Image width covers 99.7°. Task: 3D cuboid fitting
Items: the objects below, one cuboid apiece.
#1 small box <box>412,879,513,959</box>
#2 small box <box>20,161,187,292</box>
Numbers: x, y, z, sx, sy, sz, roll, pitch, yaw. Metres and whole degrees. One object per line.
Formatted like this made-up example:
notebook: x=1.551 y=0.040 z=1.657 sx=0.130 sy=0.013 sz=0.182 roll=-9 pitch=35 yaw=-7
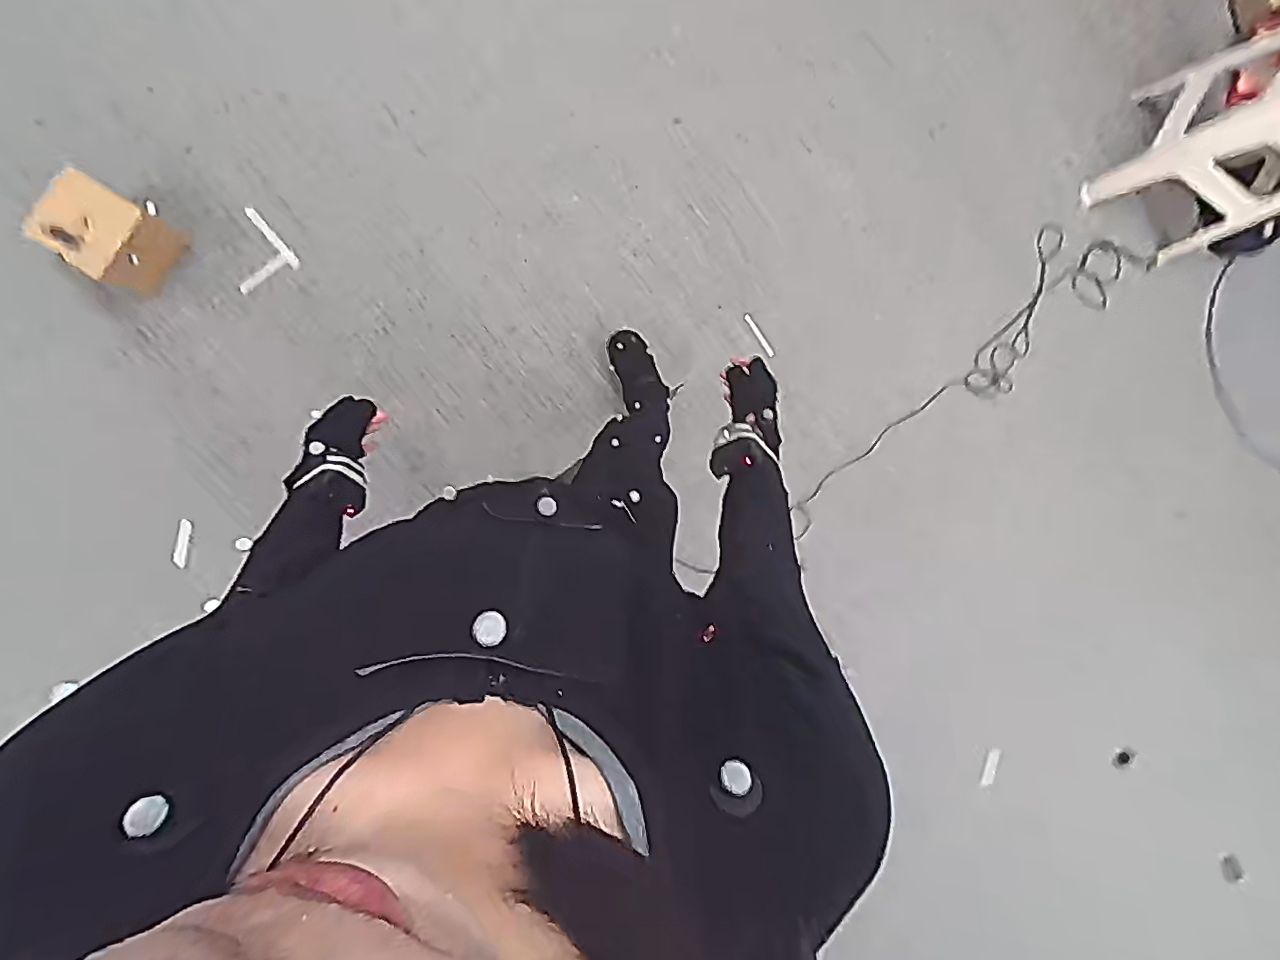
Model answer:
small box: x=-0.418 y=1.116 z=1.284 sx=0.179 sy=0.176 sz=0.168 roll=-32 pitch=101 yaw=-7
small box: x=-1.184 y=-0.554 z=1.213 sx=0.168 sy=0.176 sz=0.179 roll=35 pitch=88 yaw=-10
